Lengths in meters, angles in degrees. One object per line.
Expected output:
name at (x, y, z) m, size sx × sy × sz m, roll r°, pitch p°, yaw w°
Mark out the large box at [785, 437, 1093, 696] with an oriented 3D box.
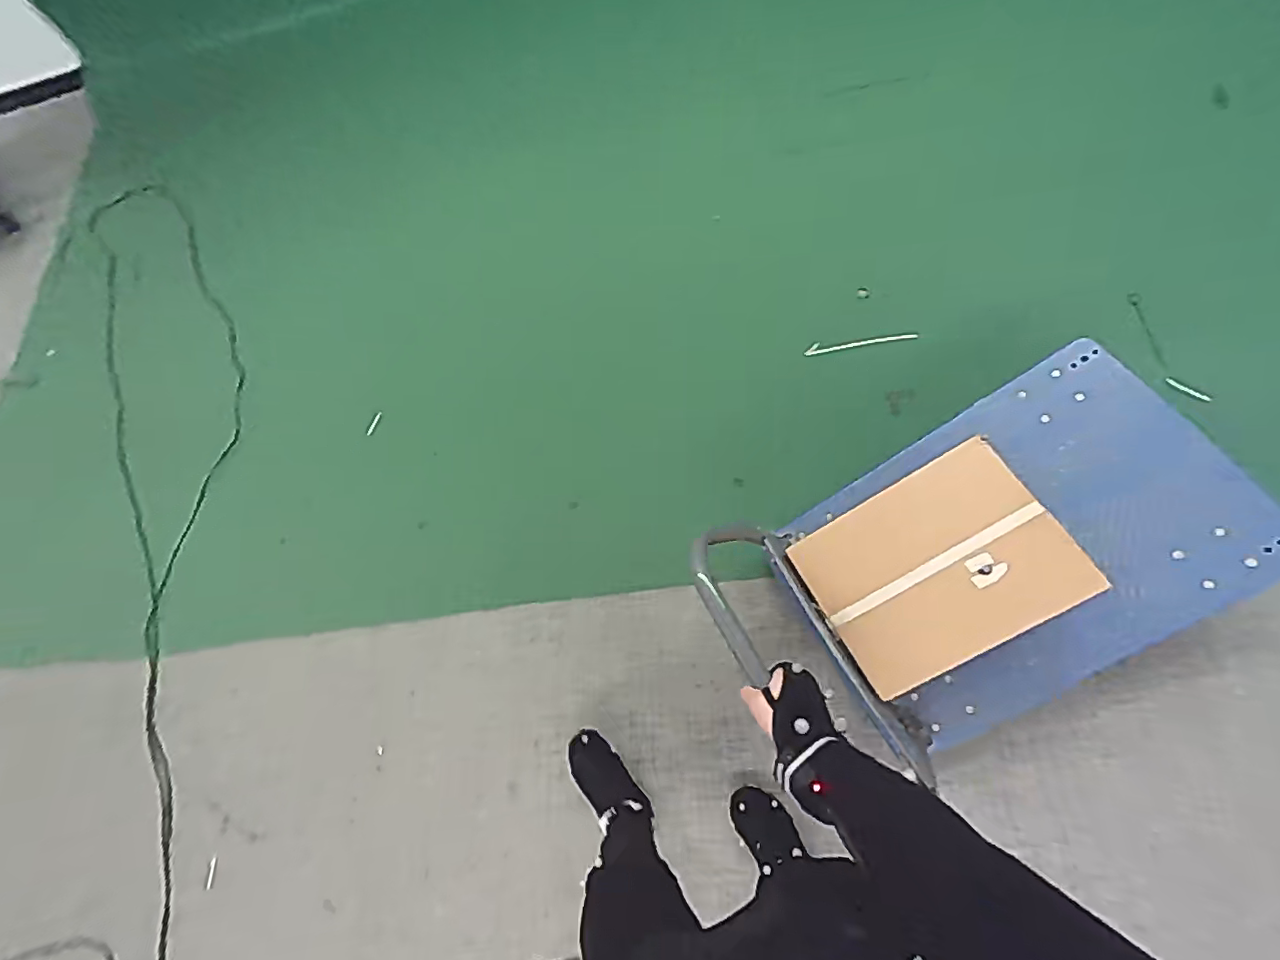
large box at (0.562, 0.185, 1.103) m, size 0.408 × 0.320 × 0.320 m, roll -34°, pitch 69°, yaw 11°
